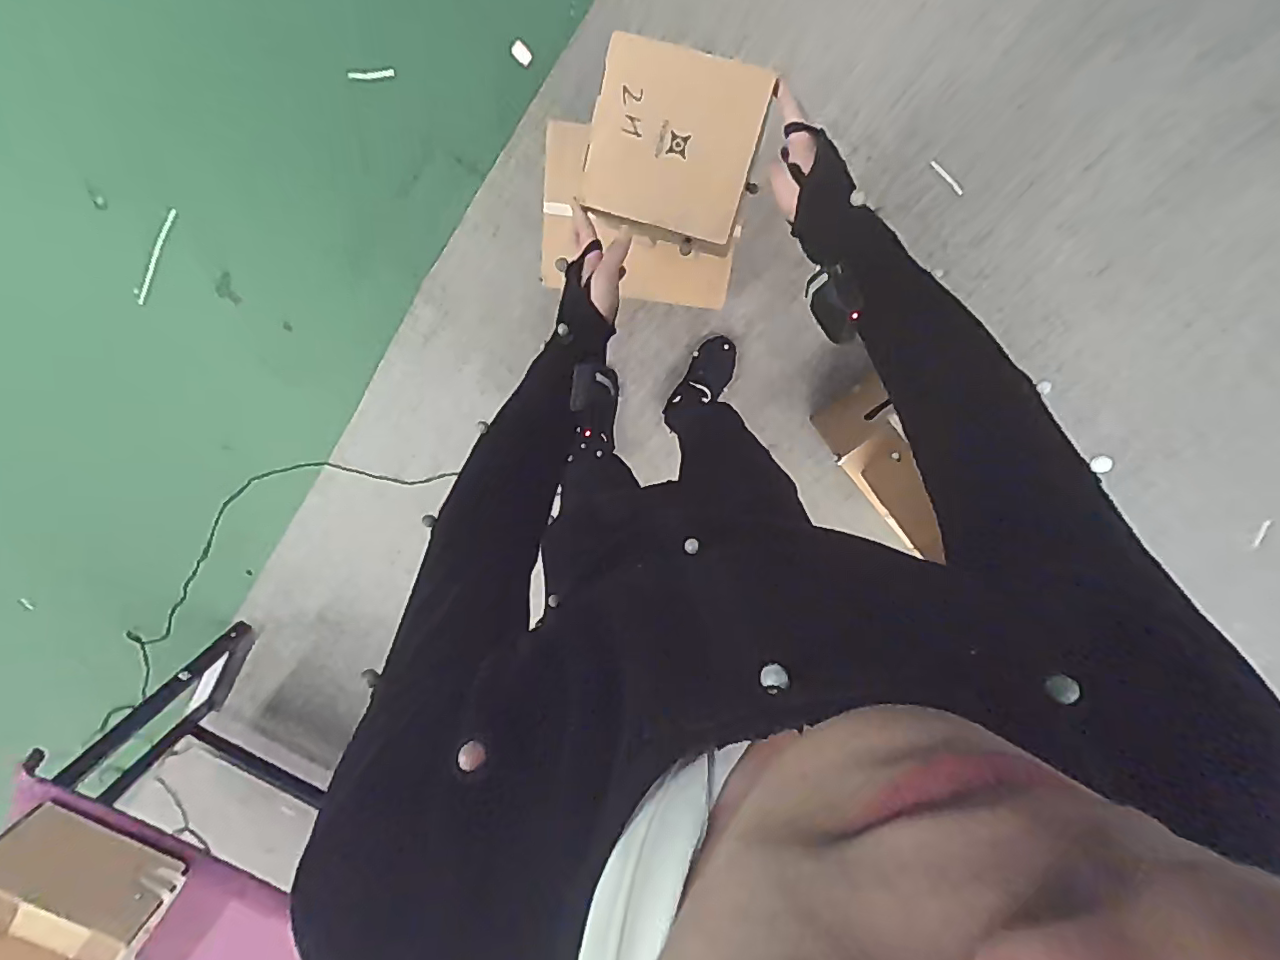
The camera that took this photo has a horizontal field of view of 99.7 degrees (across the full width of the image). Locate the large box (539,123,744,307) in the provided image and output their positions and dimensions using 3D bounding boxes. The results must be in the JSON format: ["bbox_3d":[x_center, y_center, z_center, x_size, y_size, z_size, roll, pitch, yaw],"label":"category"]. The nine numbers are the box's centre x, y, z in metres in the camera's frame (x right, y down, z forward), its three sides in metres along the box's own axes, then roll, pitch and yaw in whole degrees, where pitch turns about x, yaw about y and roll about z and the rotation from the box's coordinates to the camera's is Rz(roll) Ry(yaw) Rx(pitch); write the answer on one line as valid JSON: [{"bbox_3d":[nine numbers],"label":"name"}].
[{"bbox_3d":[0.007,-0.592,1.240,0.408,0.320,0.320,8,113,3],"label":"large box"}]

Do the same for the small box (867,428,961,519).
[{"bbox_3d":[0.626,0.018,1.185,0.168,0.176,0.179,43,111,-14],"label":"small box"}]

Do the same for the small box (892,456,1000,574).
[{"bbox_3d":[0.614,0.086,1.038,0.168,0.176,0.179,43,110,-13],"label":"small box"}]

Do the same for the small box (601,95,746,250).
[{"bbox_3d":[0.051,-0.464,0.844,0.179,0.176,0.168,14,114,-2],"label":"small box"}]
